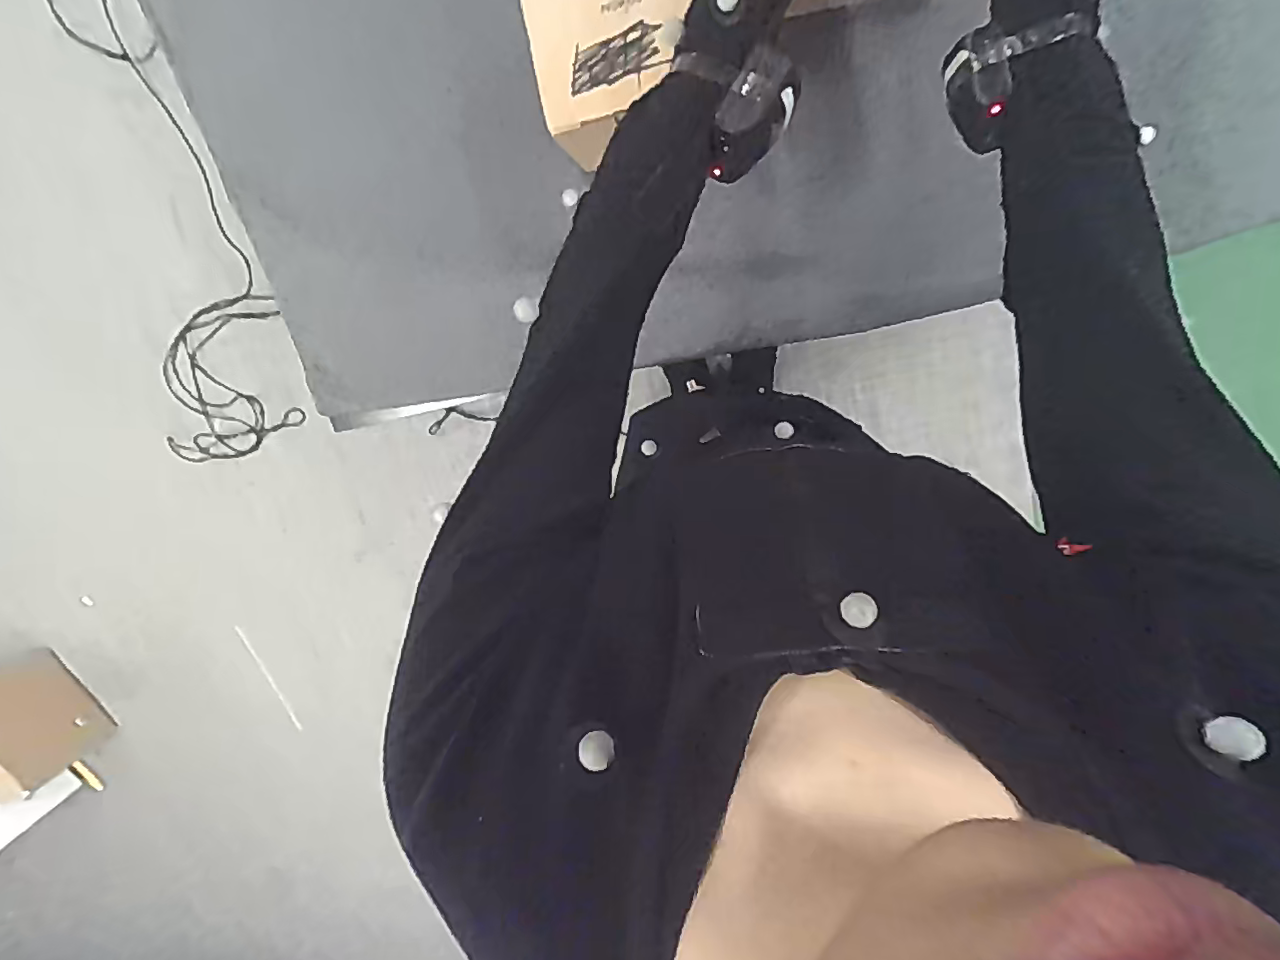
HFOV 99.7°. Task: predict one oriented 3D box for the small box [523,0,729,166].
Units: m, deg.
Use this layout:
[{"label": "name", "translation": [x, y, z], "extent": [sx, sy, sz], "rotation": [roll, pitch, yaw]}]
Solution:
[{"label": "small box", "translation": [-0.005, -0.423, 0.521], "extent": [0.168, 0.176, 0.179], "rotation": [-8, 107, 10]}]
